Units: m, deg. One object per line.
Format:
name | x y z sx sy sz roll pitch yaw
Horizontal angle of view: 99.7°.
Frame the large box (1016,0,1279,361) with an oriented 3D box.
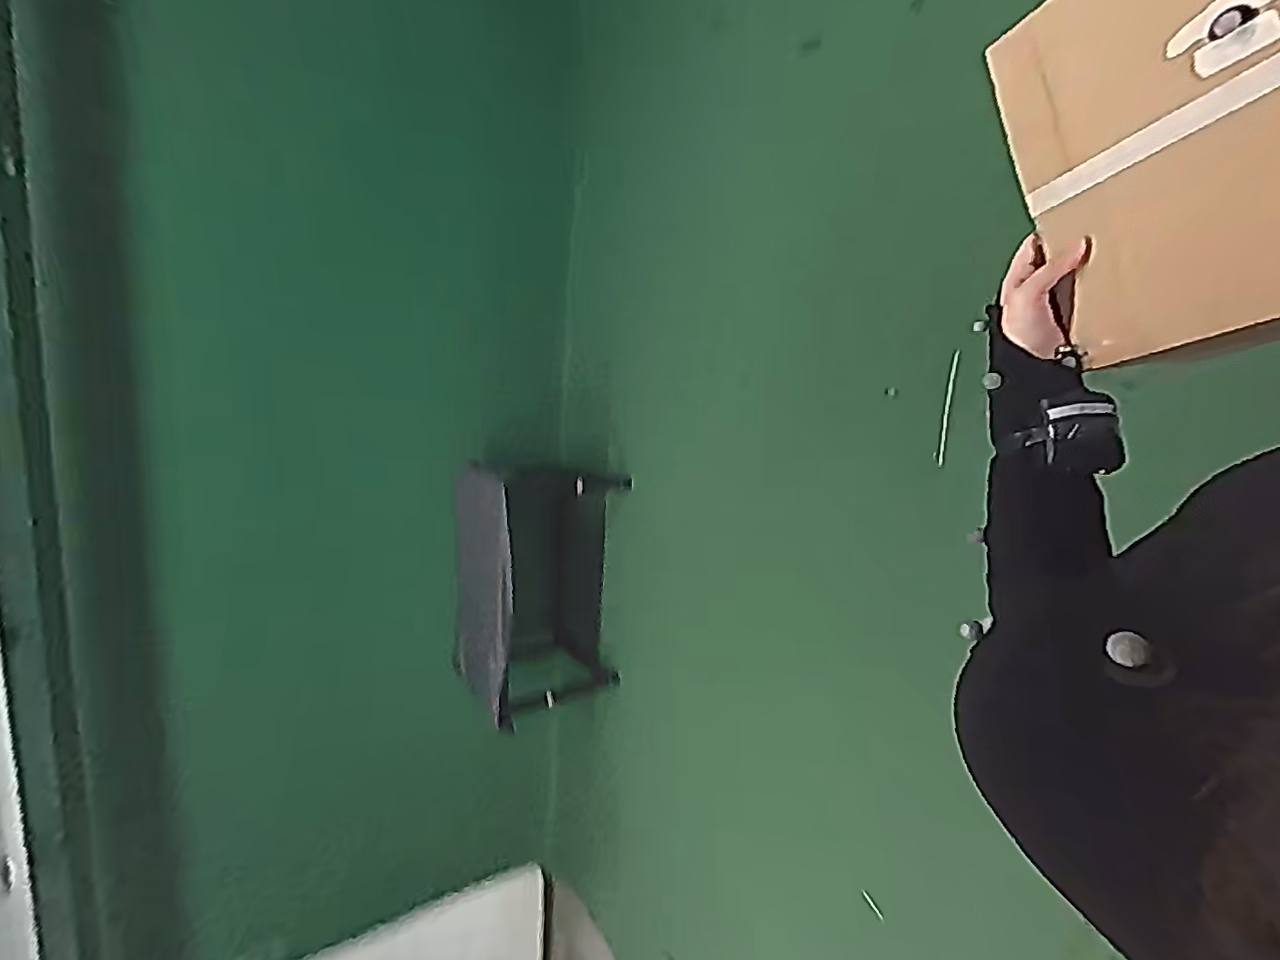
large box | 0.600 -0.310 0.394 0.408 0.320 0.320 -18 82 60
